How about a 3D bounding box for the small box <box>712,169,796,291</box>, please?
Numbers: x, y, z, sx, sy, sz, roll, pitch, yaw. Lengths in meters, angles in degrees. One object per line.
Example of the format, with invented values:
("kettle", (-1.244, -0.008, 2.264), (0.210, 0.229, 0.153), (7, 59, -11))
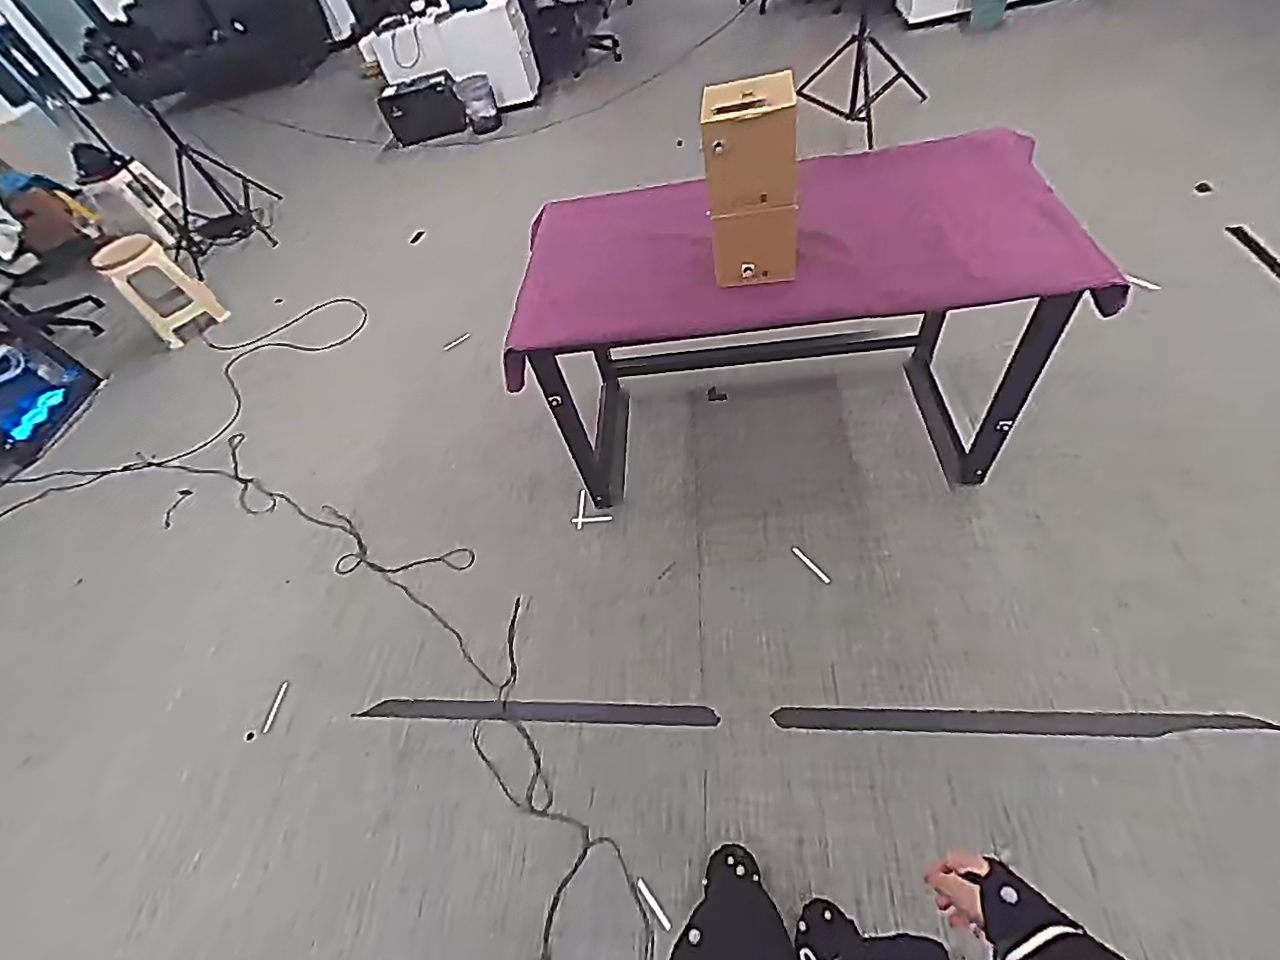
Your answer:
("small box", (0.245, -0.537, 1.171), (0.168, 0.176, 0.179), (-3, 54, 12))
